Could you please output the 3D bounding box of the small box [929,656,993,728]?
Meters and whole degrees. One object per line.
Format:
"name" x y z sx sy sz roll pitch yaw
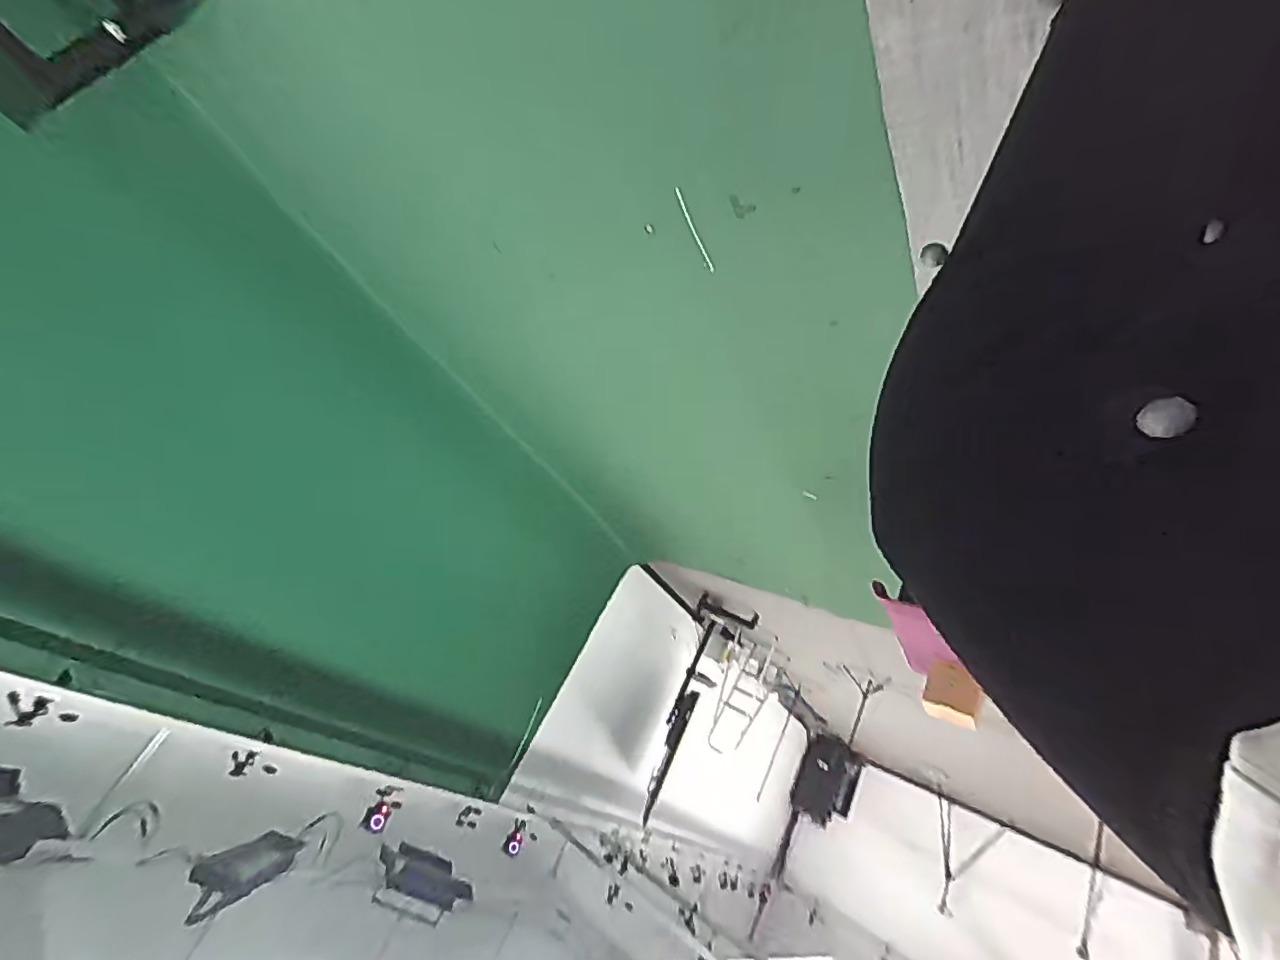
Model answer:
"small box" 1.168 0.764 1.961 0.168 0.176 0.179 10 151 41

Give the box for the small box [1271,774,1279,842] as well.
"small box" 1.787 0.877 1.404 0.168 0.176 0.179 10 151 44
